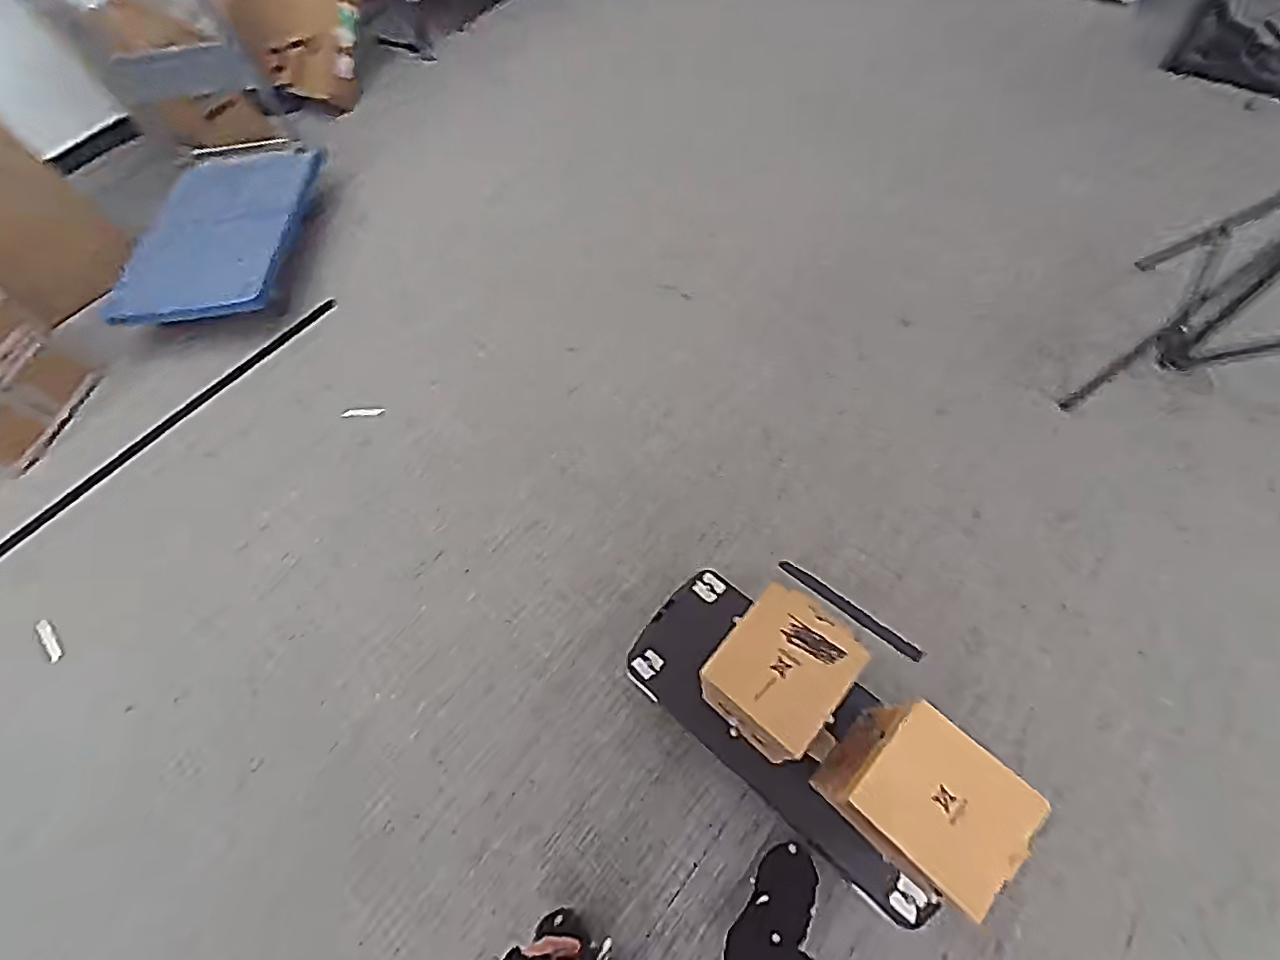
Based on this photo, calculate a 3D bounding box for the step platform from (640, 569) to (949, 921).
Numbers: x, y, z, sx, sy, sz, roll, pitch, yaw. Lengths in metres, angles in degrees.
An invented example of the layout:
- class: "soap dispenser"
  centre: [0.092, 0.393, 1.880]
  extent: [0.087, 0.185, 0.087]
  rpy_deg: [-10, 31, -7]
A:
- class: "step platform"
  centre: [0.324, 0.487, 1.091]
  extent: [0.684, 0.204, 0.286]
  rpy_deg: [36, 72, 23]

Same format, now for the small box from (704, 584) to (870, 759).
- class: "small box"
  centre: [0.212, 0.293, 0.824]
  extent: [0.168, 0.176, 0.179]
  rpy_deg: [38, 73, 23]

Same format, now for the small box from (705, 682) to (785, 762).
- class: "small box"
  centre: [0.230, 0.373, 0.966]
  extent: [0.168, 0.176, 0.179]
  rpy_deg: [38, 73, 24]

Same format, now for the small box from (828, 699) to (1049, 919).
- class: "small box"
  centre: [0.382, 0.430, 0.730]
  extent: [0.179, 0.176, 0.168]
  rpy_deg: [40, 74, 23]
